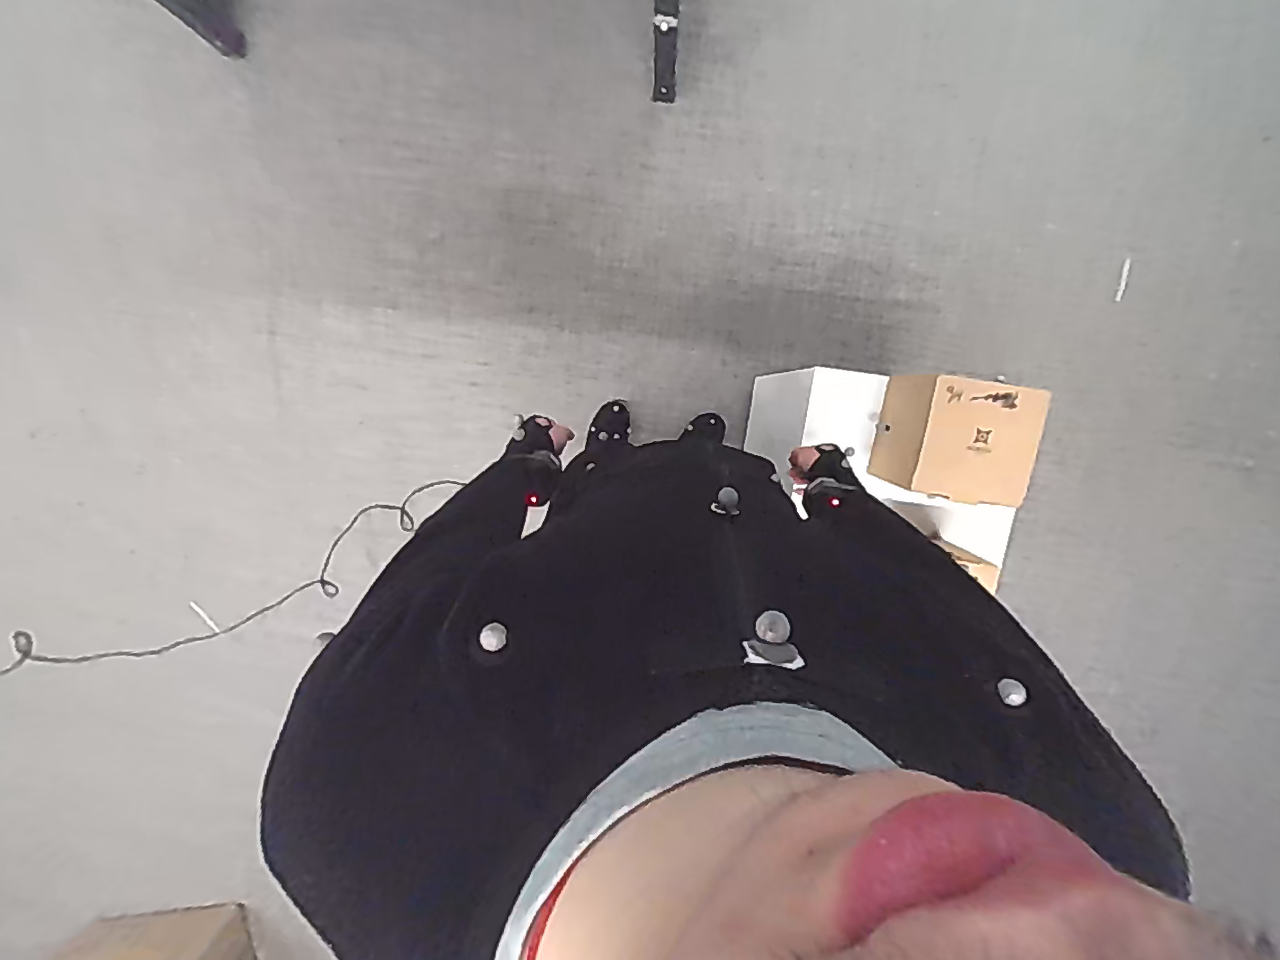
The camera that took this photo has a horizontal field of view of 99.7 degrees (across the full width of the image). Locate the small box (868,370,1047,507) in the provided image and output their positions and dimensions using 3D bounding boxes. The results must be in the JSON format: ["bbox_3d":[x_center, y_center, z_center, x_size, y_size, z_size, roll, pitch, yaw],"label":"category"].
[{"bbox_3d":[0.483,-0.073,0.855,0.168,0.176,0.179,9,102,0],"label":"small box"}]
